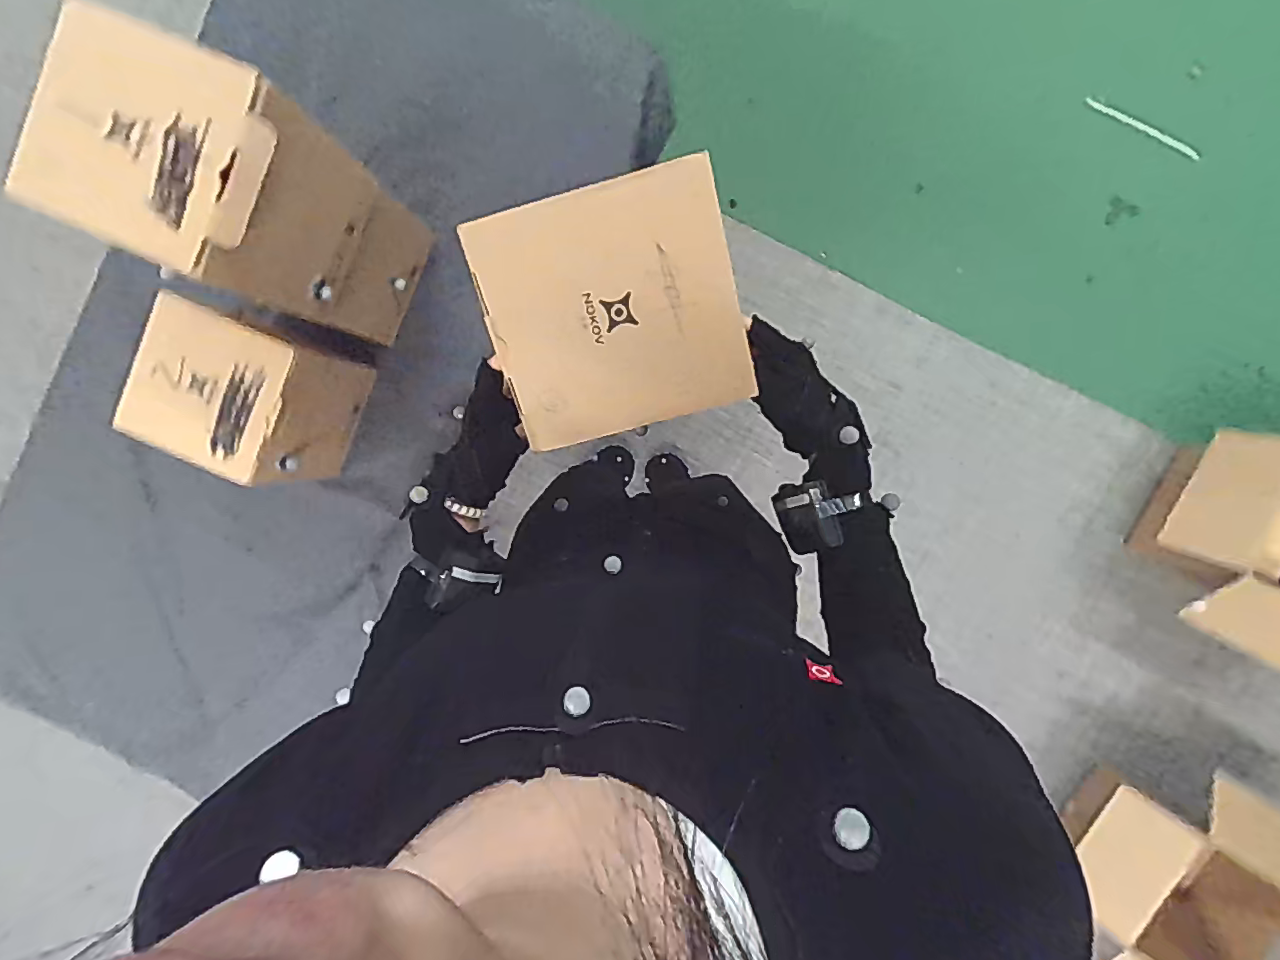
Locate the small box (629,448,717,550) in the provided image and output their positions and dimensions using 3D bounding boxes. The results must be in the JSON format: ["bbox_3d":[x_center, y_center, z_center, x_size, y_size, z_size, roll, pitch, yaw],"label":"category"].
[{"bbox_3d":[0.090,0.052,1.403,0.168,0.176,0.179,23,66,21],"label":"small box"}]

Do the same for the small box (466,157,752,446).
[{"bbox_3d":[-0.016,-0.141,0.461,0.179,0.176,0.168,-13,106,5],"label":"small box"}]

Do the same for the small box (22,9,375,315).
[{"bbox_3d":[-0.393,-0.275,0.516,0.179,0.176,0.168,24,94,2],"label":"small box"}]
